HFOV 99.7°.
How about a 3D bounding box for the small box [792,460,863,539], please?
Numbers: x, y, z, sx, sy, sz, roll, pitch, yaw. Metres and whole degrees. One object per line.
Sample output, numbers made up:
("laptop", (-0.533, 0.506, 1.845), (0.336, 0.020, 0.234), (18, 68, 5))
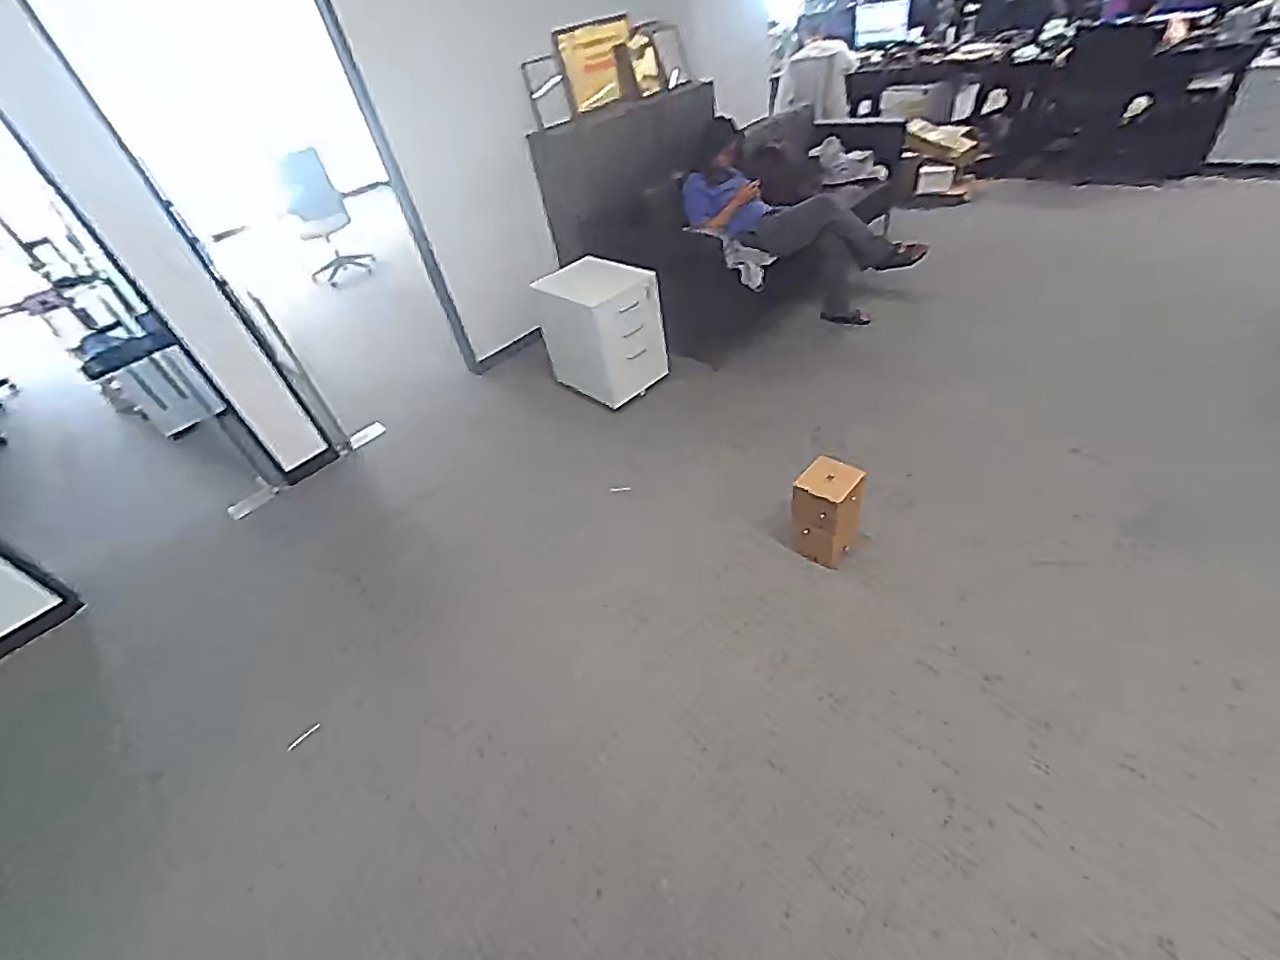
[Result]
("small box", (0.629, 0.067, 1.823), (0.168, 0.176, 0.179), (27, 52, 36))

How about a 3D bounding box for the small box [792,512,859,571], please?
("small box", (0.655, 0.189, 1.927), (0.179, 0.176, 0.168), (-38, 46, -27))
